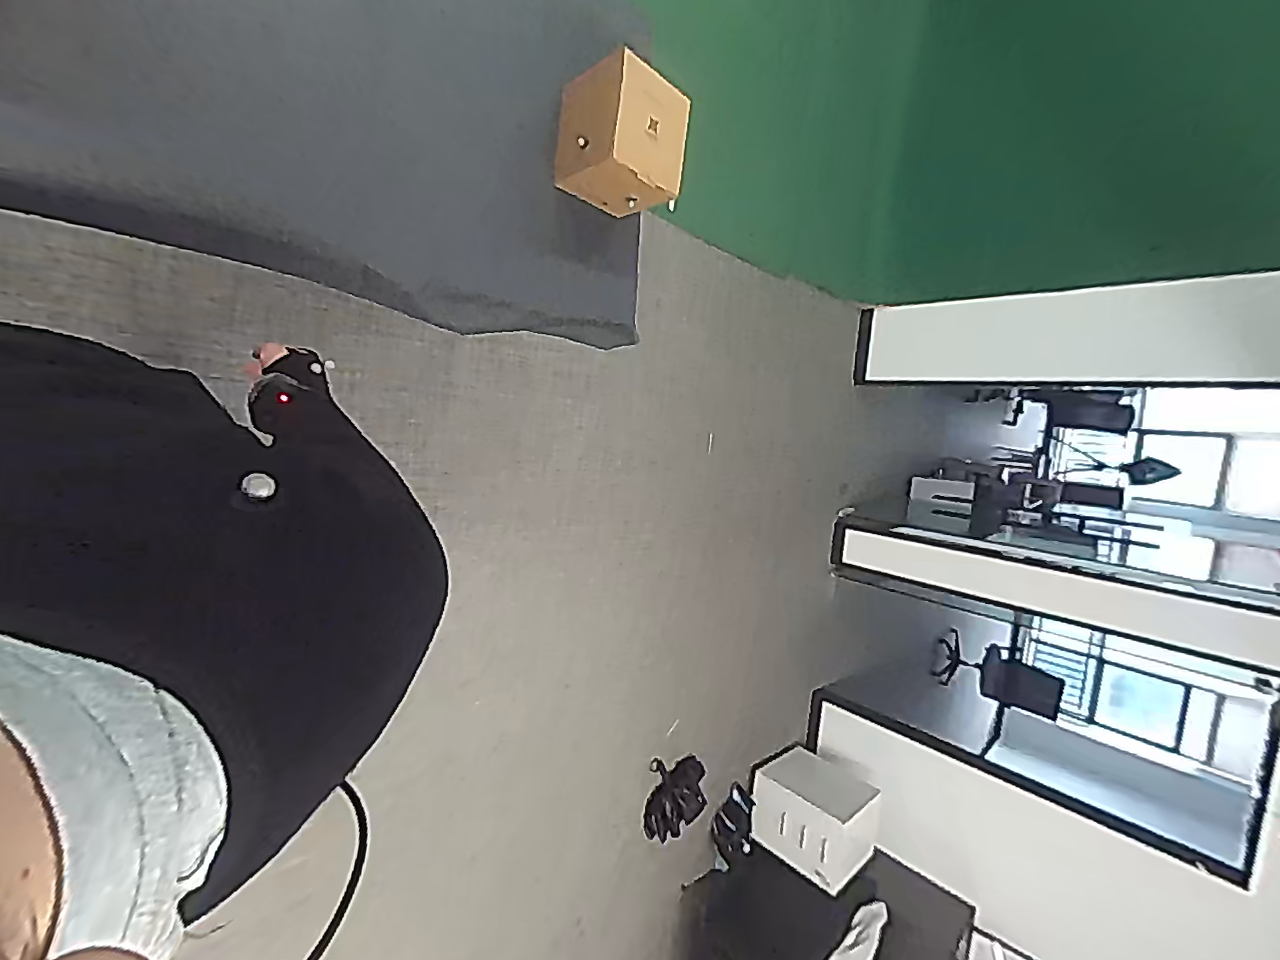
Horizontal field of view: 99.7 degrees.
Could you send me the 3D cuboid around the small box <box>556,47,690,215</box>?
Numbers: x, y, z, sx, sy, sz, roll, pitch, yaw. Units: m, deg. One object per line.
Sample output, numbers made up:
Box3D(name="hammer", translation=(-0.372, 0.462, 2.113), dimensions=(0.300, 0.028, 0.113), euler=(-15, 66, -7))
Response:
Box3D(name="small box", translation=(-0.034, -0.603, 0.967), dimensions=(0.168, 0.176, 0.179), euler=(2, 95, -46))
